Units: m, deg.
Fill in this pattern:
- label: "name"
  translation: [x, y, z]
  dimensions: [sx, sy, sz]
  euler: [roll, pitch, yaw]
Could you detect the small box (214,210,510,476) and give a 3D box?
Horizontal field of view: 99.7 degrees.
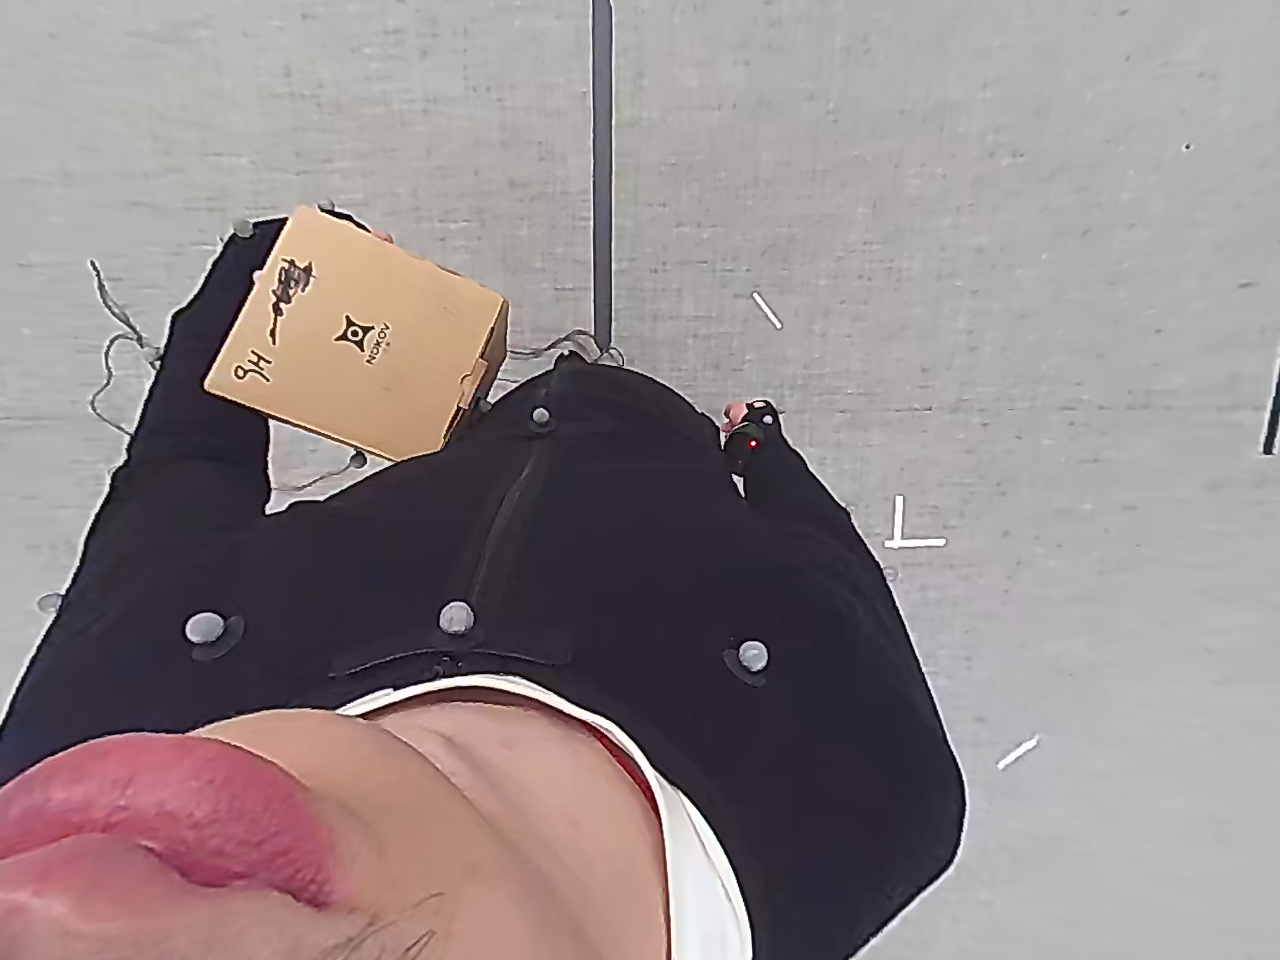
- label: "small box"
  translation: [-0.240, -0.108, 0.518]
  dimensions: [0.179, 0.176, 0.168]
  euler: [22, 81, -13]
